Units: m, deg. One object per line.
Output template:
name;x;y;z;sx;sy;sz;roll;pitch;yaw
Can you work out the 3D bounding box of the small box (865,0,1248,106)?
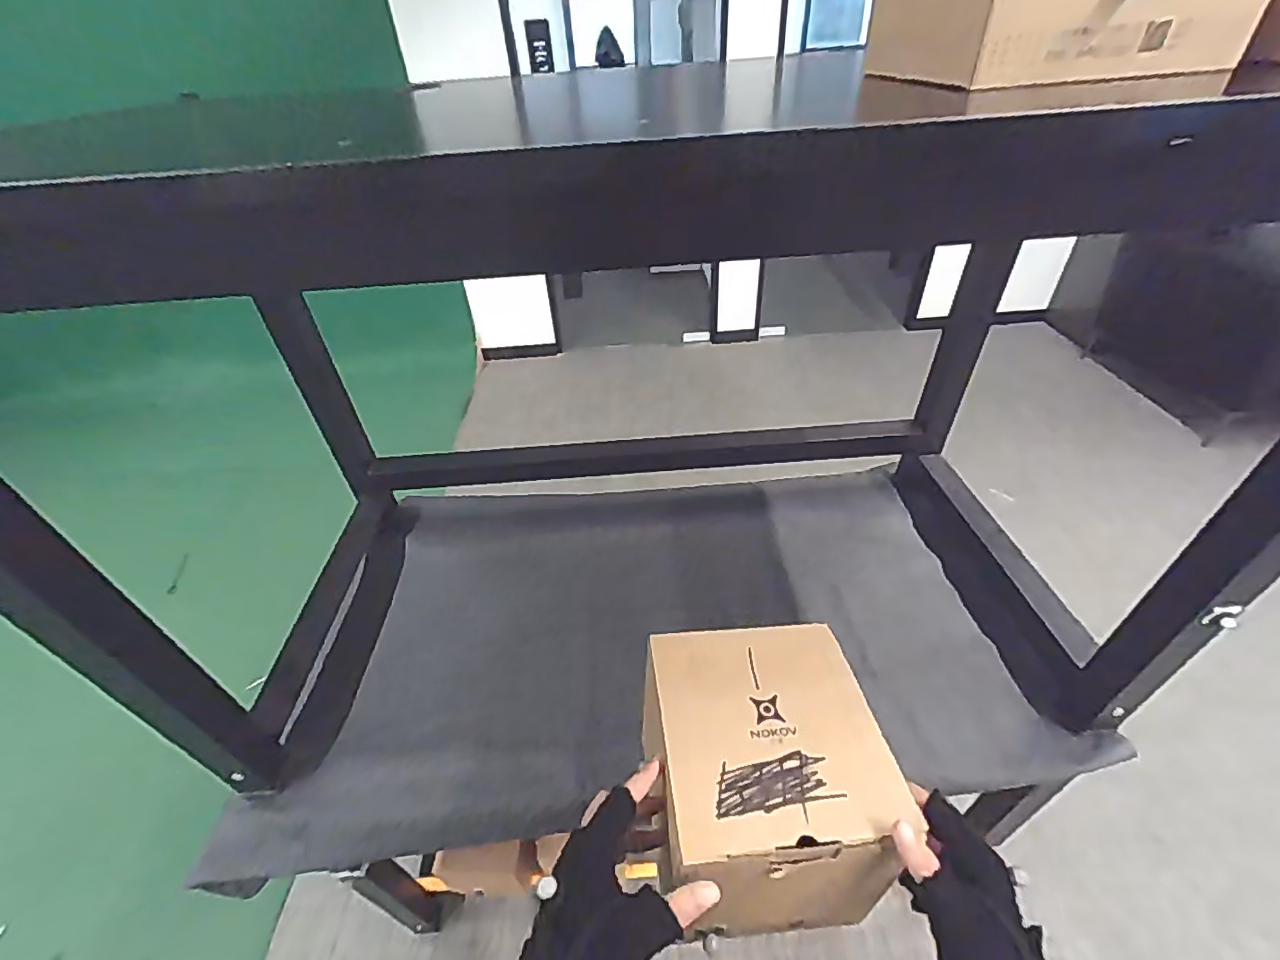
small box;0.271;-0.356;0.358;0.168;0.176;0.179;-5;39;0
